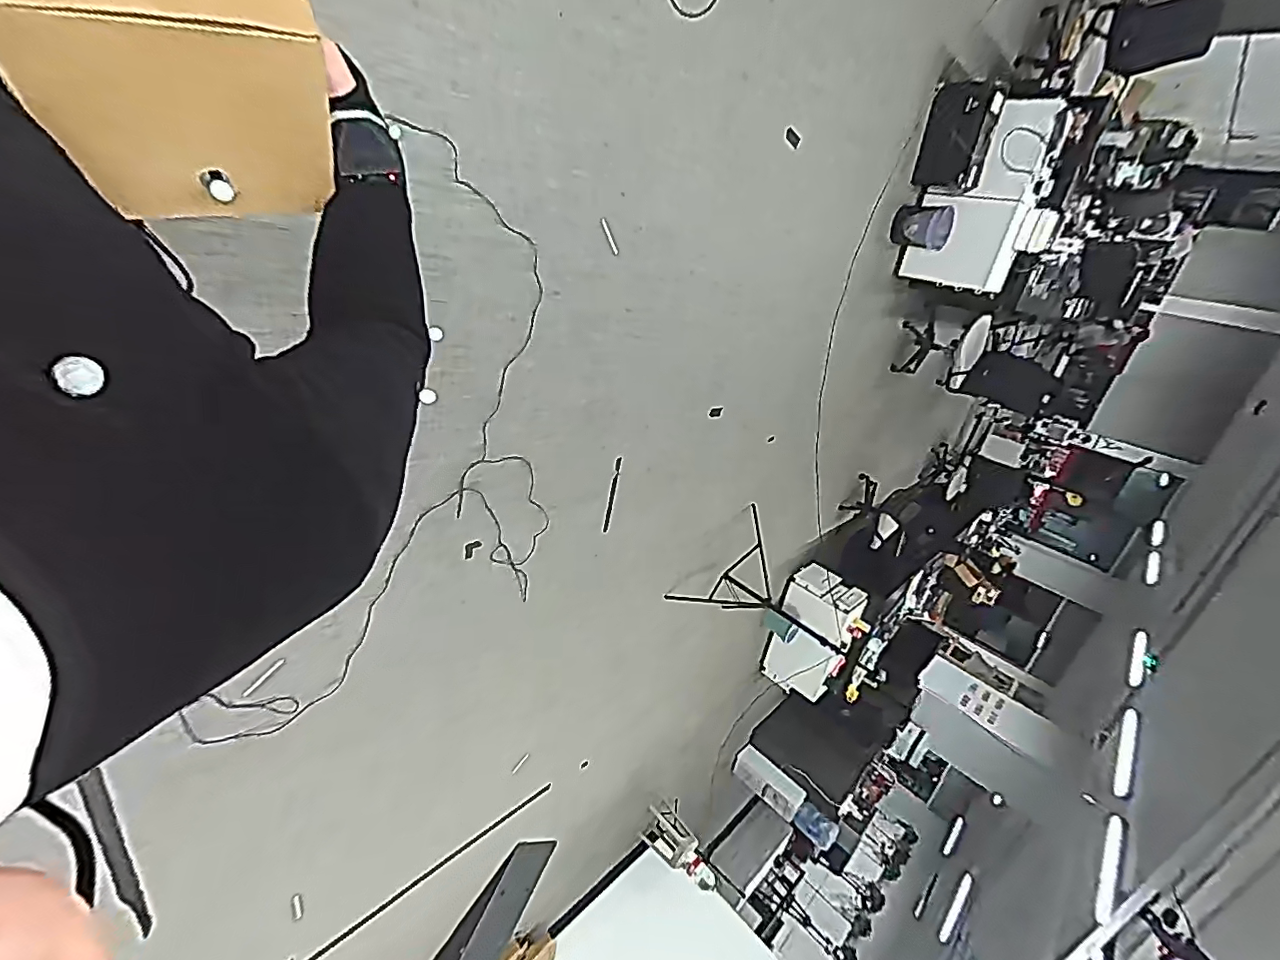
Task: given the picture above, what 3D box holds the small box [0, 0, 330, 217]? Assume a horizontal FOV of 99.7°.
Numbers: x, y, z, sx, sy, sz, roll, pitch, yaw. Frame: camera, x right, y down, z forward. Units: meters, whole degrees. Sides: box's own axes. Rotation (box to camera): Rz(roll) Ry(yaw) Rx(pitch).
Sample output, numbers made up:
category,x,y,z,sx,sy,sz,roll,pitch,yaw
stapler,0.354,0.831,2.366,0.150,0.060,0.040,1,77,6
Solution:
category,x,y,z,sx,sy,sz,roll,pitch,yaw
small box,-0.359,-0.330,0.418,0.179,0.168,0.176,-20,173,-30
